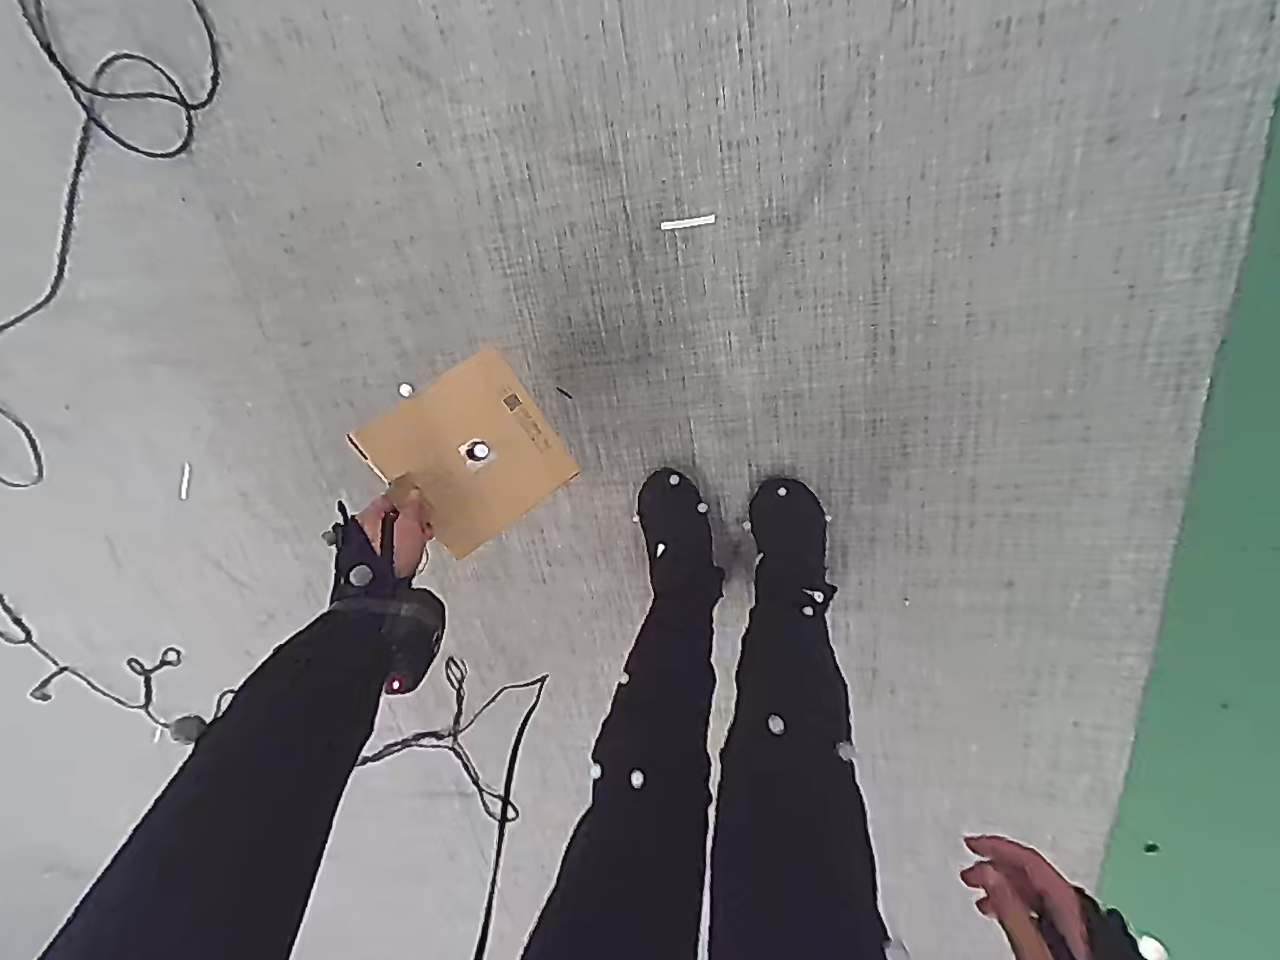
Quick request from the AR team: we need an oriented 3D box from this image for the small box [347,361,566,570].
[{"bbox_3d":[-0.210,-0.026,0.641,0.176,0.179,0.168,-38,110,-14],"label":"small box"}]
